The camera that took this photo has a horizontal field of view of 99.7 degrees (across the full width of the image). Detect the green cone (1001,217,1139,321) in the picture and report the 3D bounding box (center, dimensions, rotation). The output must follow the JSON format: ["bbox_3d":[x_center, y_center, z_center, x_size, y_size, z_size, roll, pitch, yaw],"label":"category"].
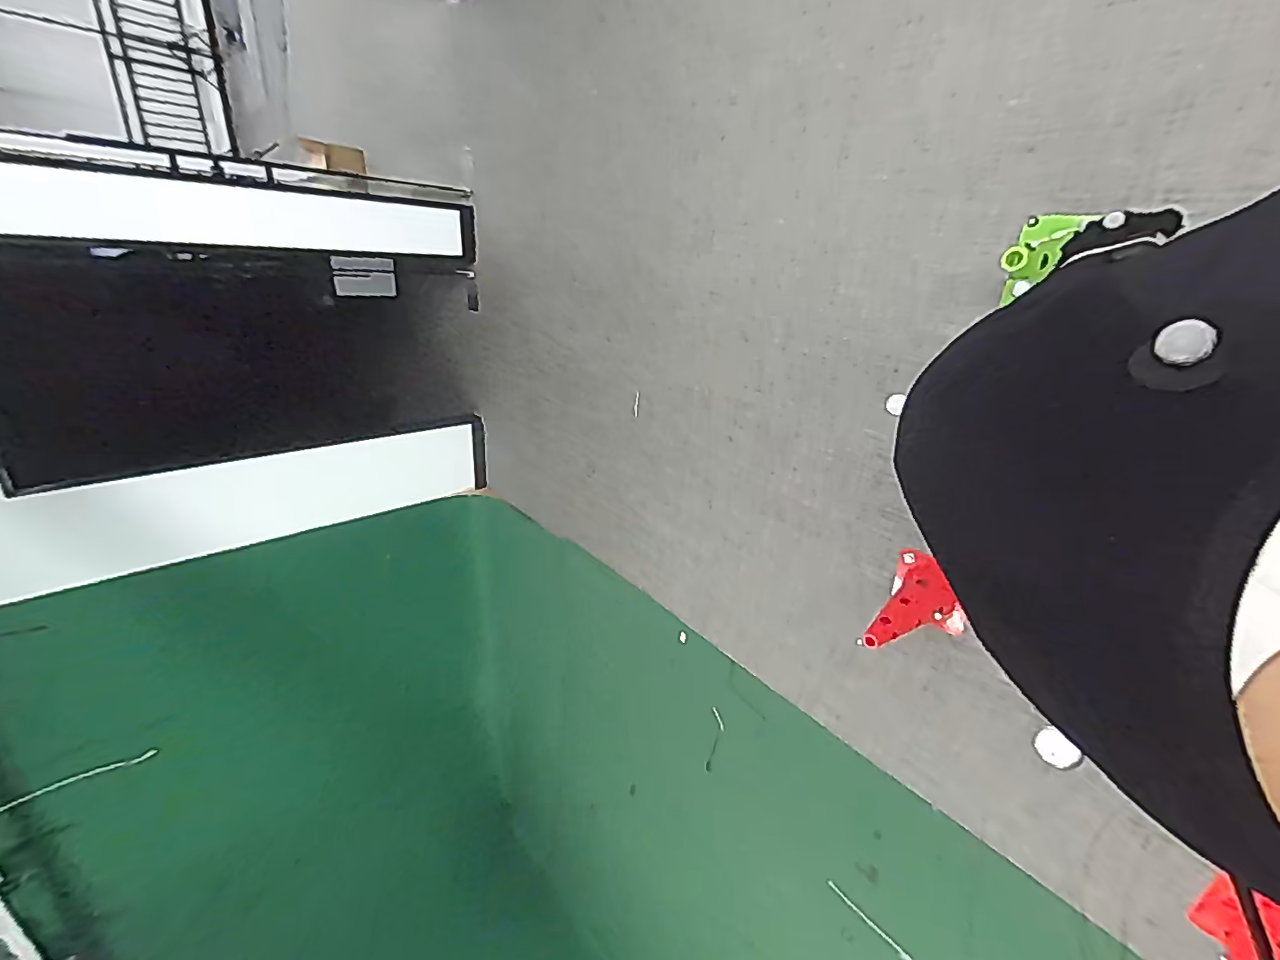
[{"bbox_3d":[0.780,-0.411,1.043,0.202,0.368,0.200,25,121,42],"label":"green cone"}]

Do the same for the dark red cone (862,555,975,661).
[{"bbox_3d":[0.679,0.357,1.385,0.202,0.394,0.201,21,119,45],"label":"dark red cone"}]

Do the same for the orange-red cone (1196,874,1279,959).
[{"bbox_3d":[1.199,0.981,1.014,0.198,0.360,0.199,27,121,41],"label":"orange-red cone"}]
